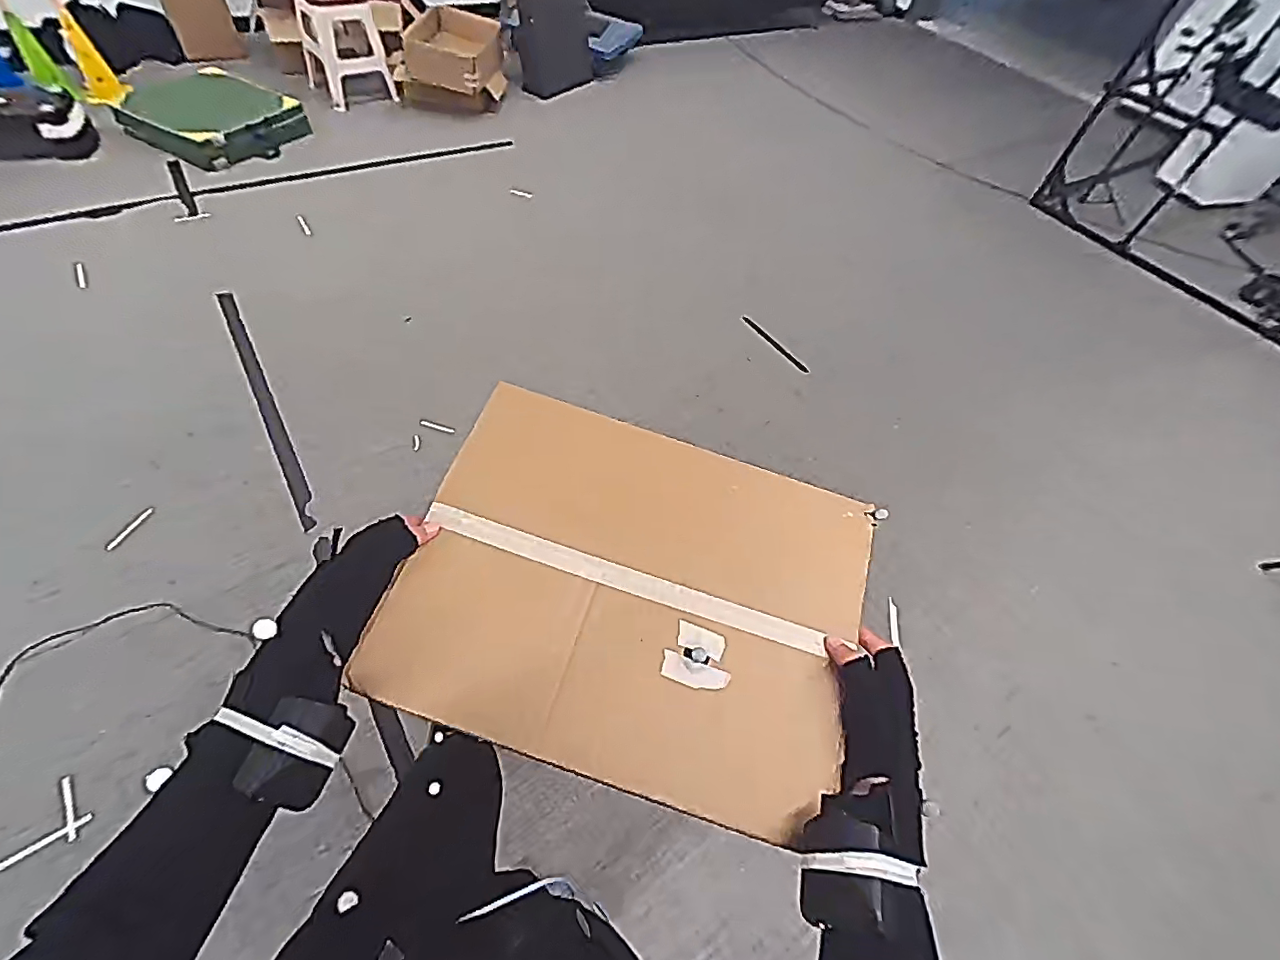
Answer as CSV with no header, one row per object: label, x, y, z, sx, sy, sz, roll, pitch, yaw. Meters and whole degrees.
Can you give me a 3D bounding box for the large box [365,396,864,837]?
large box,-0.016,0.162,0.634,0.408,0.320,0.320,19,64,1
